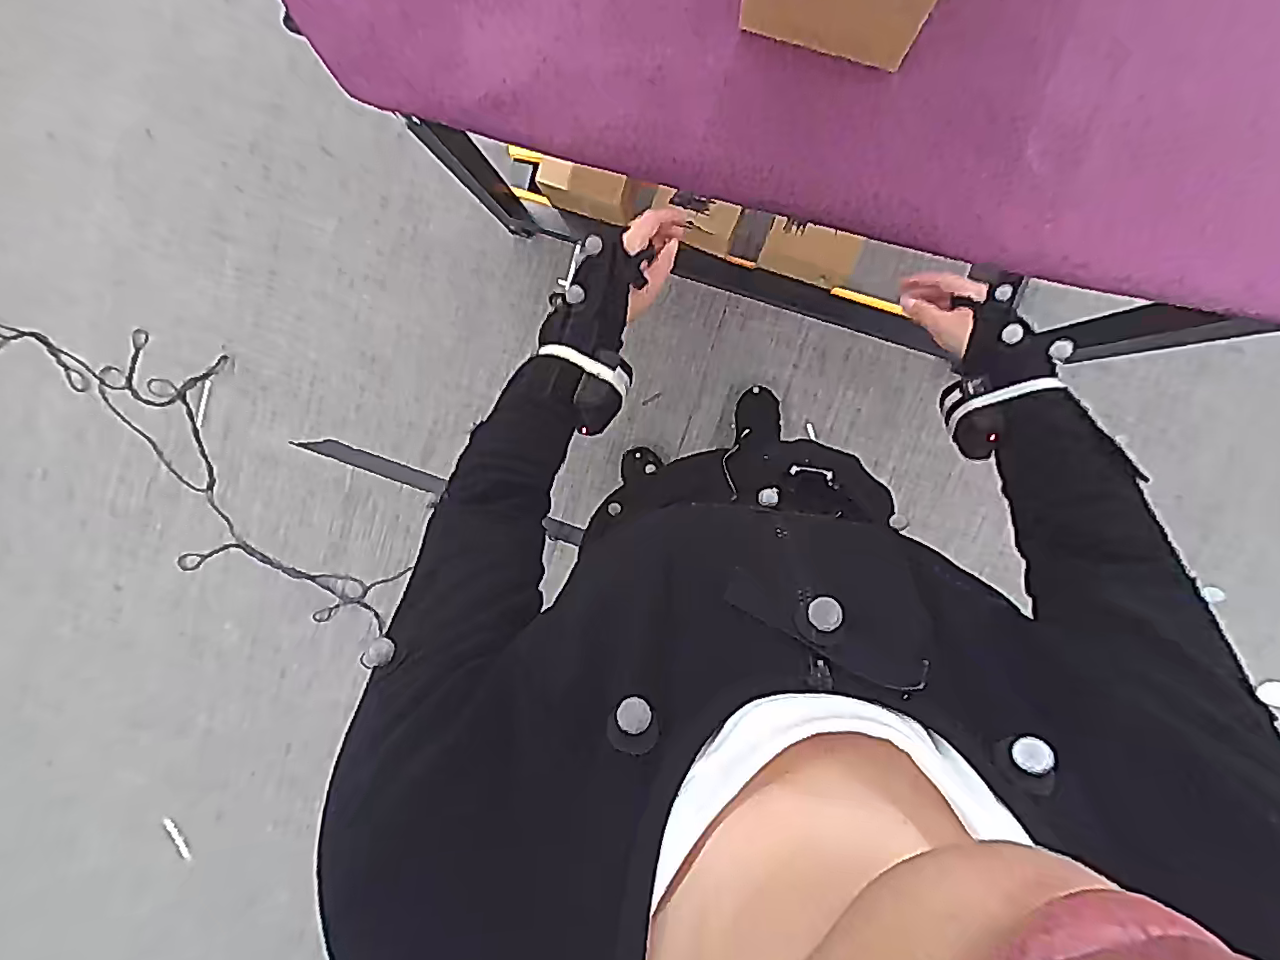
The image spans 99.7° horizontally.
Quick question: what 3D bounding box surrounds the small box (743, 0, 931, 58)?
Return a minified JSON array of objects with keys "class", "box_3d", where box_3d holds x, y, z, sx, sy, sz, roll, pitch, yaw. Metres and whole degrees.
[{"class":"small box","box_3d":[0.205,-0.527,0.481,0.179,0.176,0.168,18,96,3]}]
